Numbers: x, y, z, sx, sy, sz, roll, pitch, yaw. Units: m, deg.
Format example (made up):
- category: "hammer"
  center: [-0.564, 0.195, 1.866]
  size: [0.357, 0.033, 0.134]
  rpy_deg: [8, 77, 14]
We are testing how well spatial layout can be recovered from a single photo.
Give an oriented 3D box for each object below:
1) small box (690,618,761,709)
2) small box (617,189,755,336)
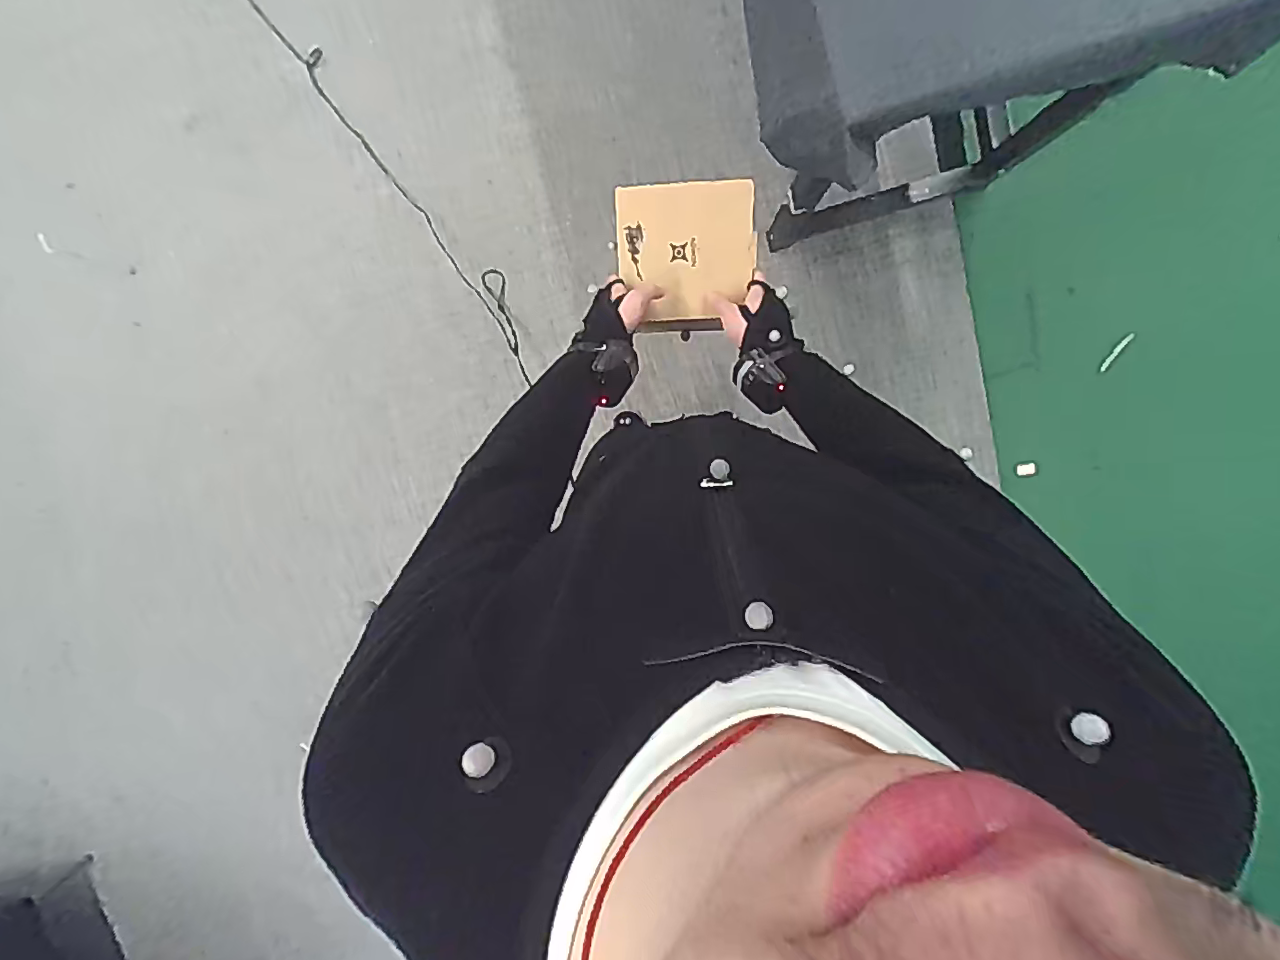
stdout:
- category: "small box"
  center: [0.241, 0.521, 1.551]
  size: [0.168, 0.176, 0.179]
  rpy_deg: [-12, 97, 4]
- category: "small box"
  center: [0.061, -0.297, 0.768]
  size: [0.179, 0.176, 0.168]
  rpy_deg: [-1, 100, 3]
